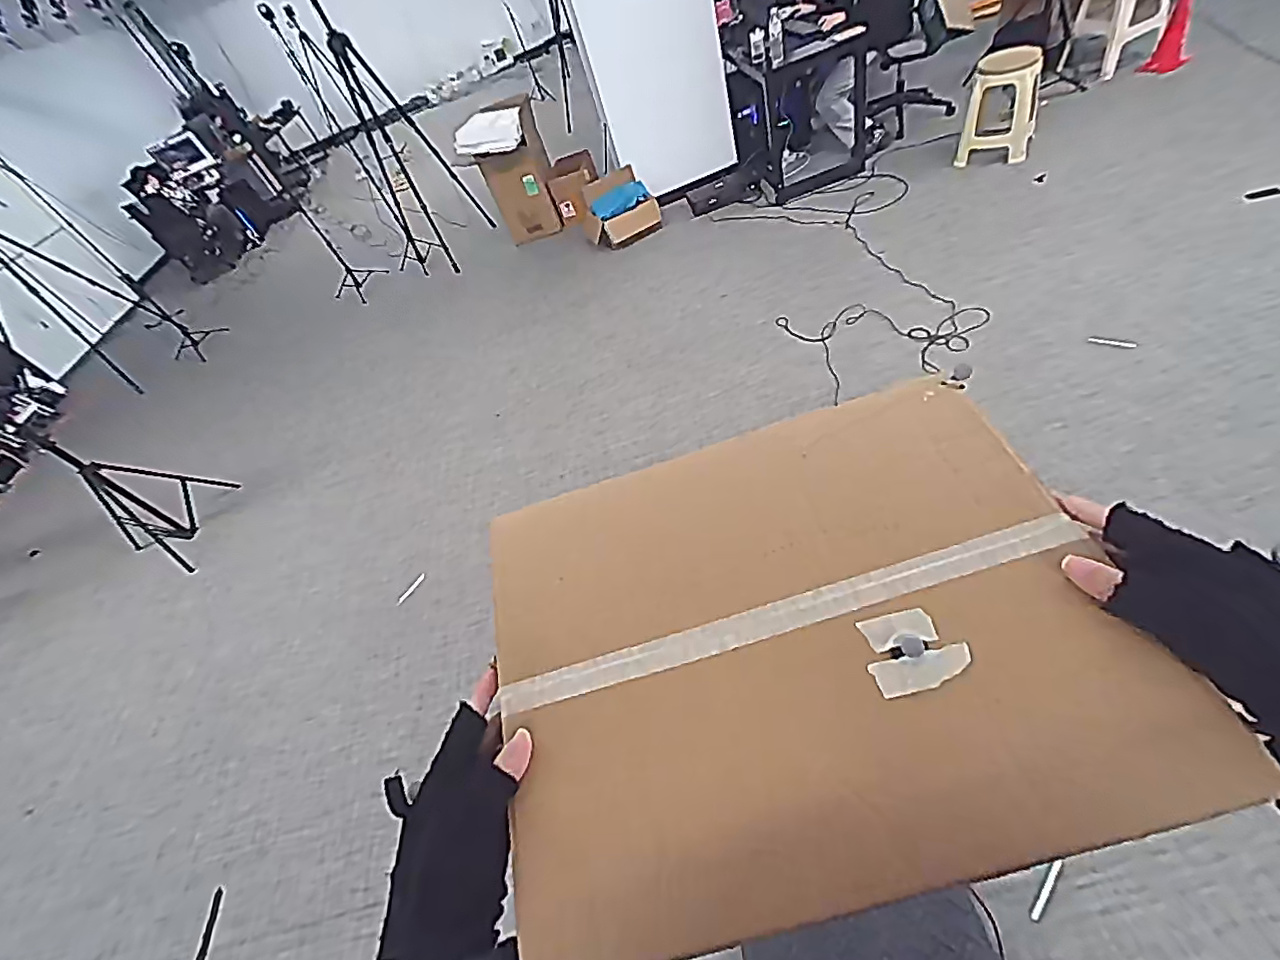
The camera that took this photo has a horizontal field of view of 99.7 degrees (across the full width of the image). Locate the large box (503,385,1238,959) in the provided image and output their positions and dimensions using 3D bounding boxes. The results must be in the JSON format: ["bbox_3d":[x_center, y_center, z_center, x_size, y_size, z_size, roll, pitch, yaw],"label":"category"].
[{"bbox_3d":[0.130,0.180,0.502,0.408,0.320,0.320,-18,55,3],"label":"large box"}]
